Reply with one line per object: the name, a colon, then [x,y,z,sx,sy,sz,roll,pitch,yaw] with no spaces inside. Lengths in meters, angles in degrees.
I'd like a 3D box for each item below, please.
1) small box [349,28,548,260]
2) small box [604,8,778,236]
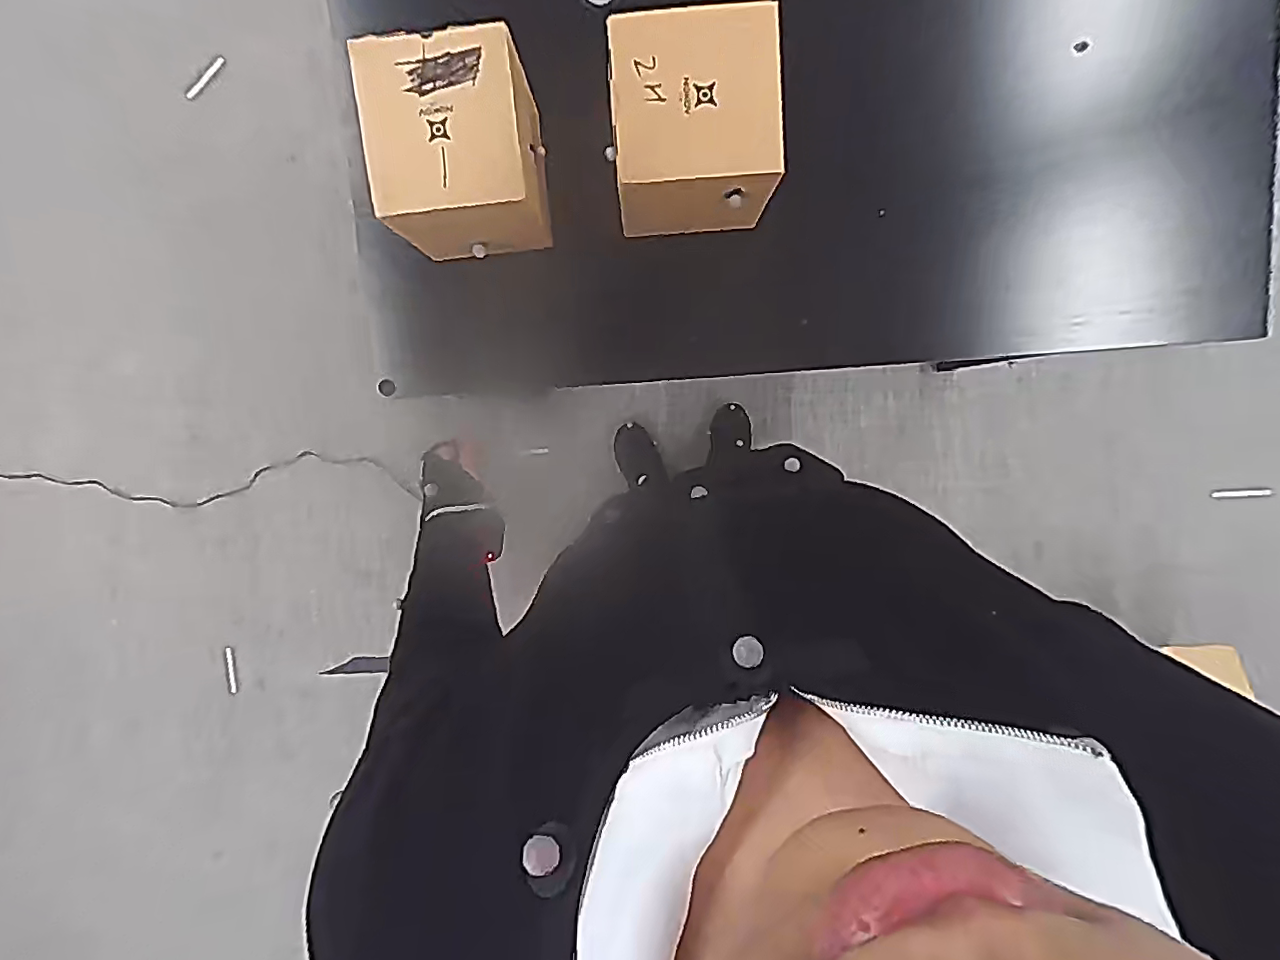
small box: [-0.212,-0.382,0.645,0.168,0.176,0.179,-6,98,2]
small box: [0.054,-0.403,0.638,0.179,0.176,0.168,-4,96,2]
